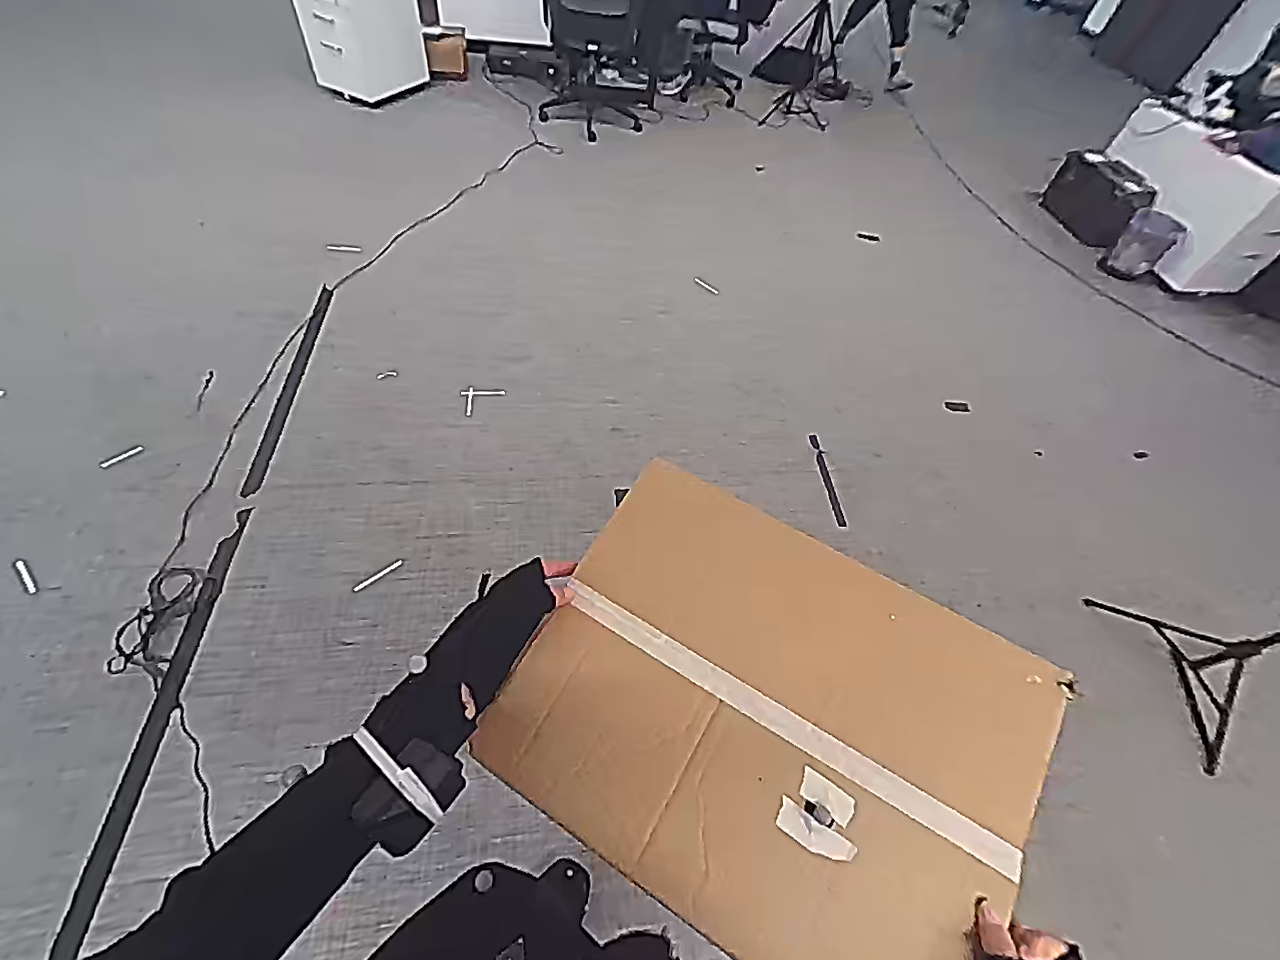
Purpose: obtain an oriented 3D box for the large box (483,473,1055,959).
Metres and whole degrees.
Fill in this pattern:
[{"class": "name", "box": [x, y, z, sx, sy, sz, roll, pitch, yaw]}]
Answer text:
[{"class": "large box", "box": [0.114, 0.260, 0.594, 0.408, 0.320, 0.320, 29, 70, 14]}]
